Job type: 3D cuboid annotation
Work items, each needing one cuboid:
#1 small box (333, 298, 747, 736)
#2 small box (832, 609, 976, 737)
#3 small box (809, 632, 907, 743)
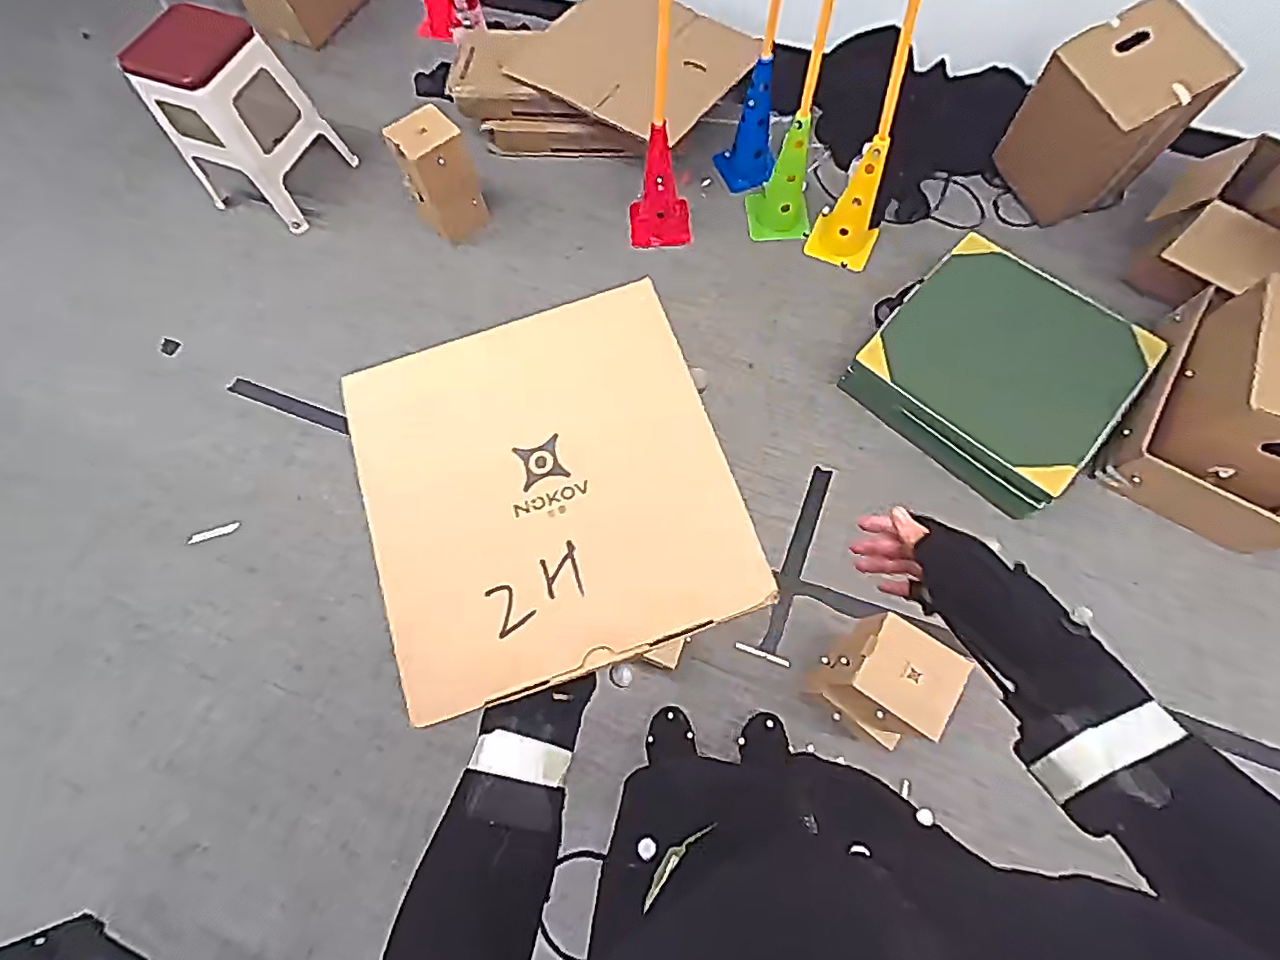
[{"bbox_3d":[-0.050,0.027,0.329,0.168,0.176,0.179,-16,77,0],"label":"small box"},{"bbox_3d":[0.515,0.385,1.084,0.179,0.176,0.168,34,75,12],"label":"small box"},{"bbox_3d":[0.514,0.467,1.230,0.179,0.176,0.168,36,74,13],"label":"small box"}]
